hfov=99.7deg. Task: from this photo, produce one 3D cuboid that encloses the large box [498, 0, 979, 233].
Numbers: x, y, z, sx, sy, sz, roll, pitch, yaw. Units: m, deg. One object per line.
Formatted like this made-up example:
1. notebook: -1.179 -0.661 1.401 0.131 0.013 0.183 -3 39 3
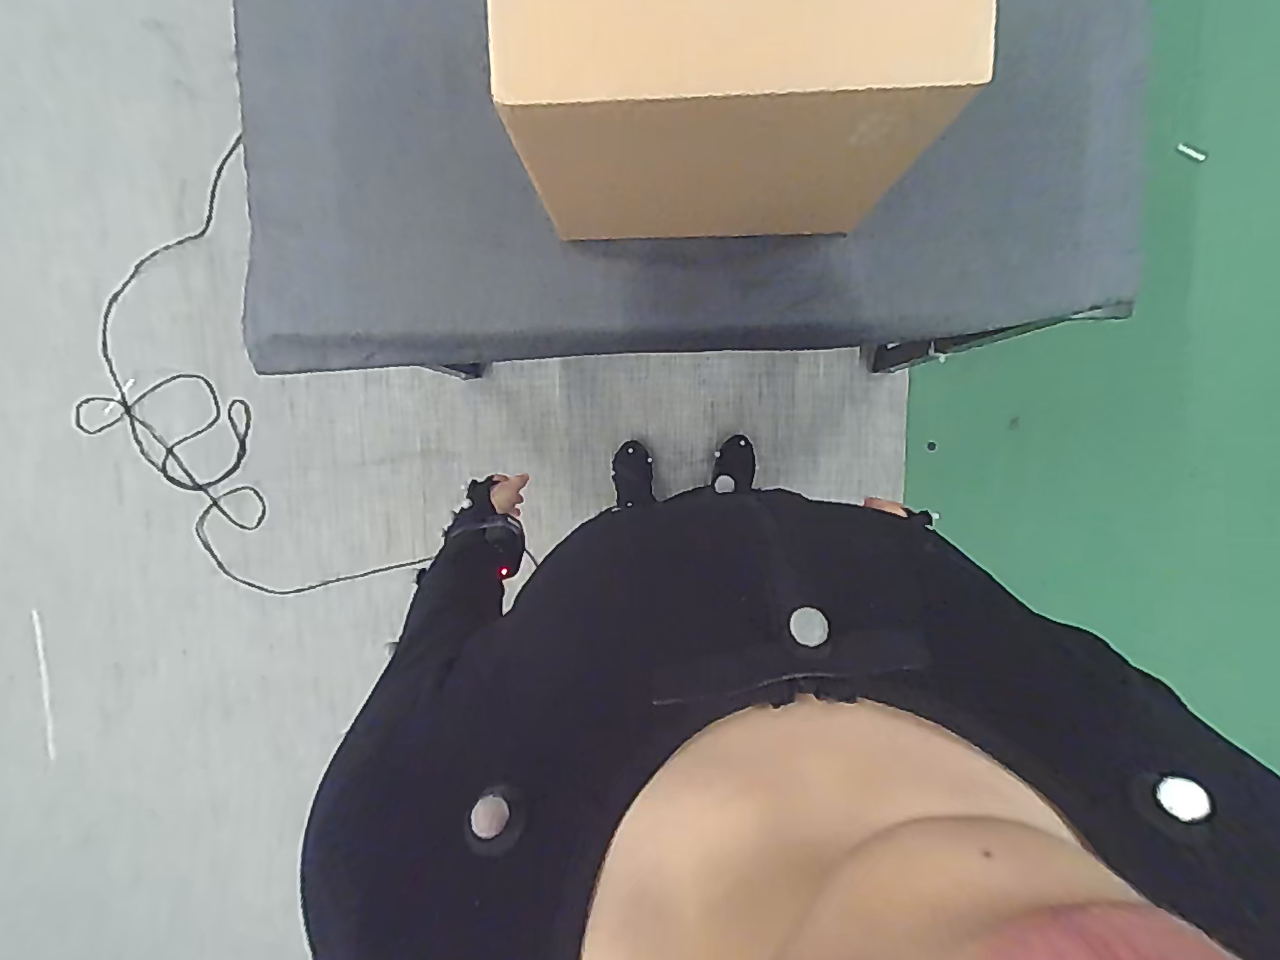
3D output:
1. large box: 0.078 -0.489 0.588 0.408 0.320 0.320 -1 95 2
